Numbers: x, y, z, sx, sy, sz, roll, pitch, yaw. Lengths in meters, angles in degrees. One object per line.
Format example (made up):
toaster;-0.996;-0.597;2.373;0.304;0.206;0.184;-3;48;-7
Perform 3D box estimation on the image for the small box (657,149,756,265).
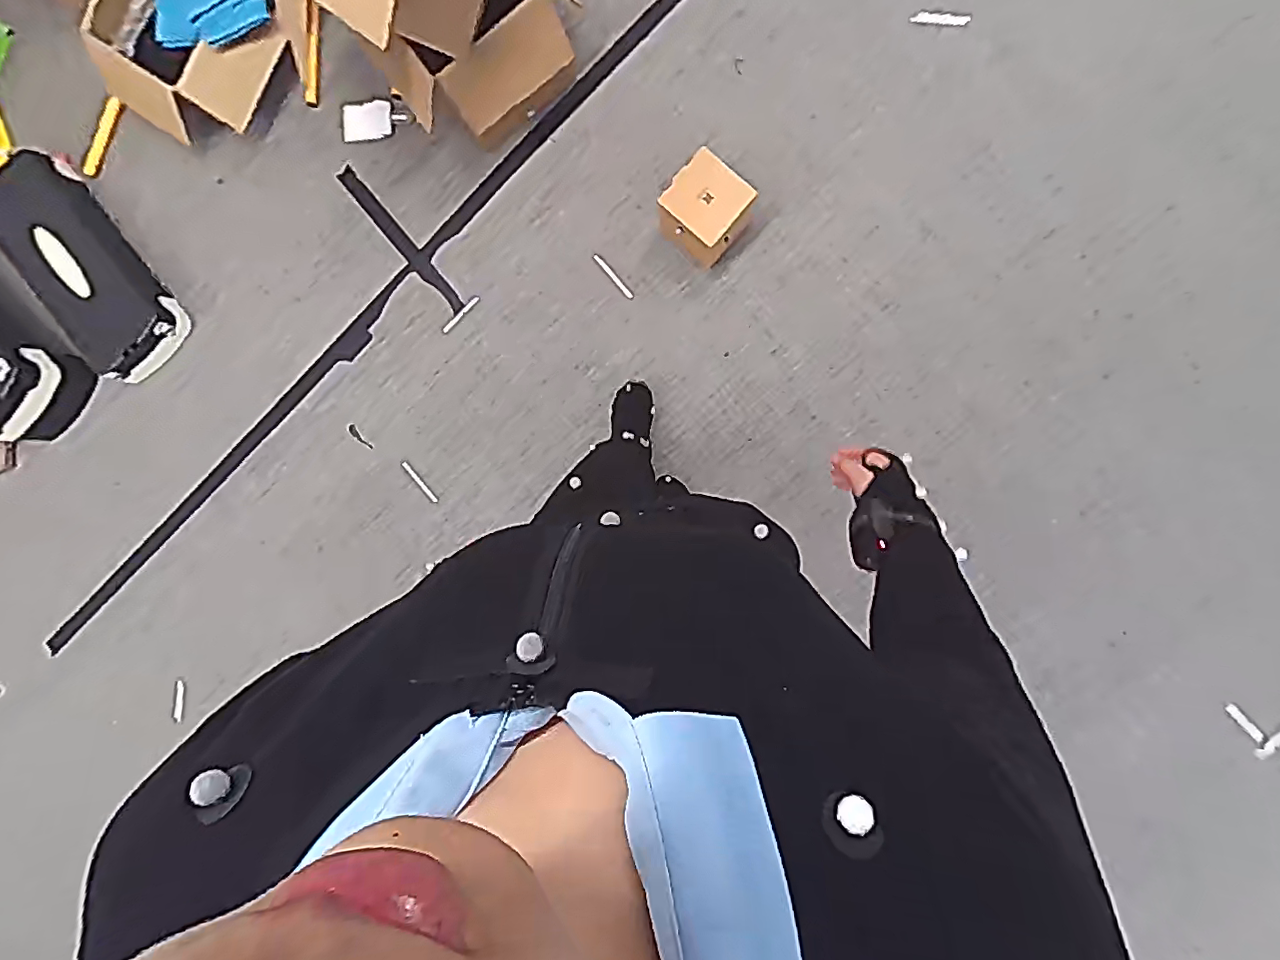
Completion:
small box;0.166;-0.666;1.351;0.179;0.176;0.168;42;97;3
